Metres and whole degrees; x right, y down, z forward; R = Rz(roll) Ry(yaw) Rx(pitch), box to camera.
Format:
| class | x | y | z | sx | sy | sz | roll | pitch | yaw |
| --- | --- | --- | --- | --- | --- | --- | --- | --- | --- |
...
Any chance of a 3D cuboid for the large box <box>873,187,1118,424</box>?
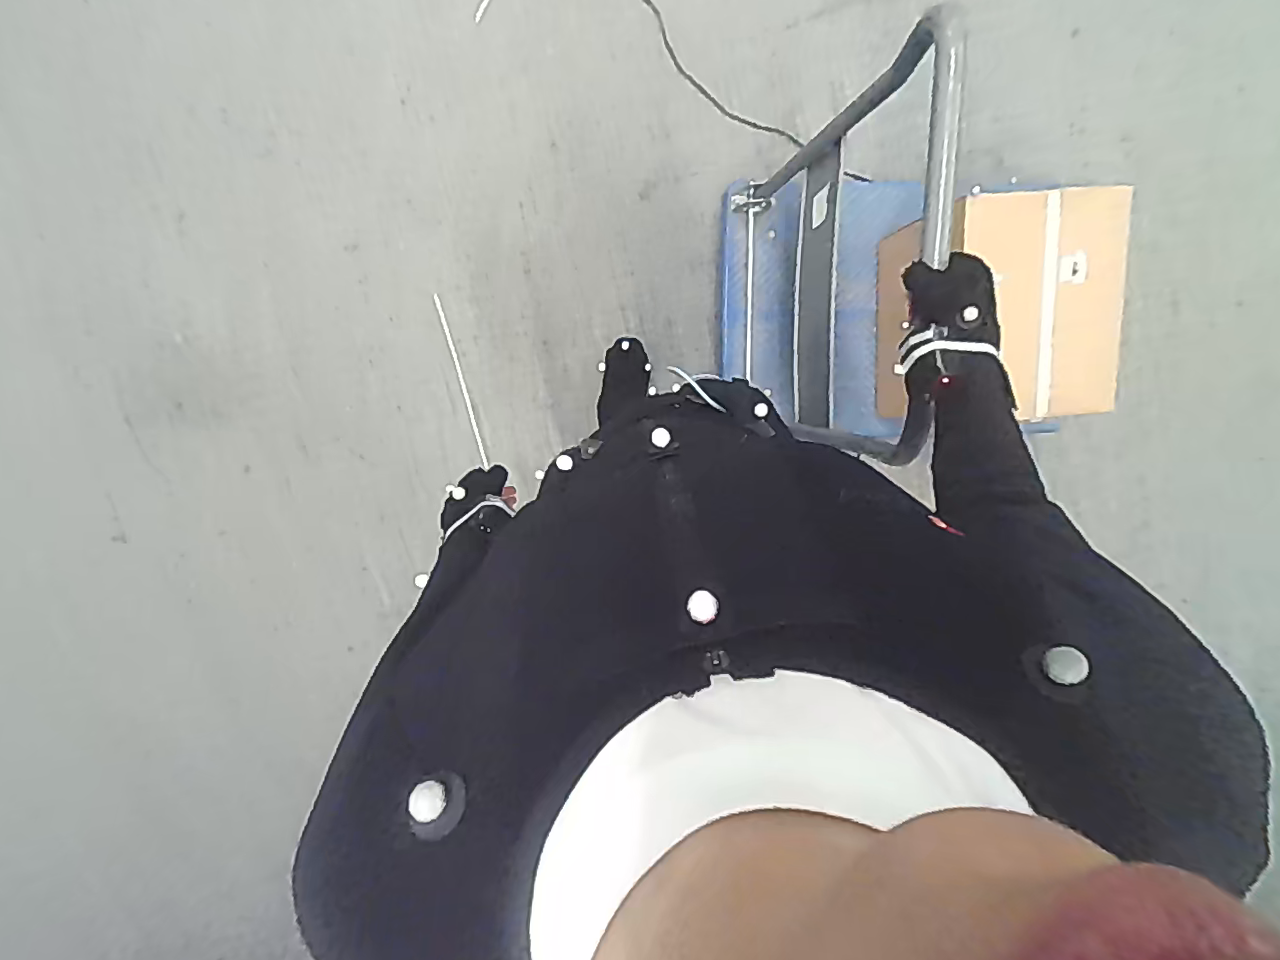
| class | x | y | z | sx | sy | sz | roll | pitch | yaw |
| --- | --- | --- | --- | --- | --- | --- | --- | --- | --- |
| large box | 0.709 | -0.337 | 1.133 | 0.320 | 0.320 | 0.408 | -5 | 100 | -4 |
